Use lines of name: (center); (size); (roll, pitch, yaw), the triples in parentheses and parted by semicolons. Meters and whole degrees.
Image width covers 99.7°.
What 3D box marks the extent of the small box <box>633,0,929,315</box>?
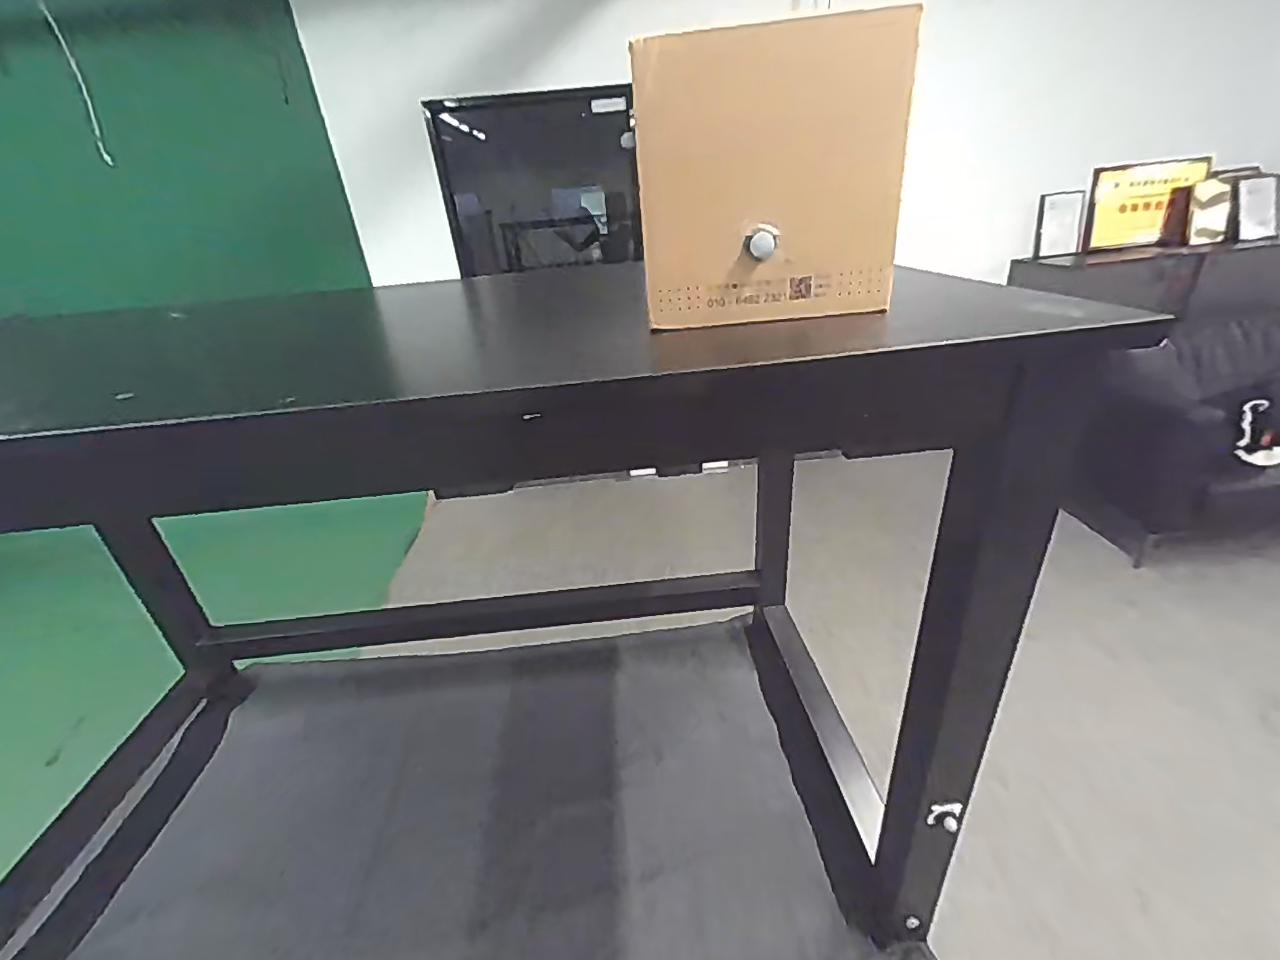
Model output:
small box: (0.086, -0.227, 0.408); (0.168, 0.176, 0.179); (-4, 28, 4)
